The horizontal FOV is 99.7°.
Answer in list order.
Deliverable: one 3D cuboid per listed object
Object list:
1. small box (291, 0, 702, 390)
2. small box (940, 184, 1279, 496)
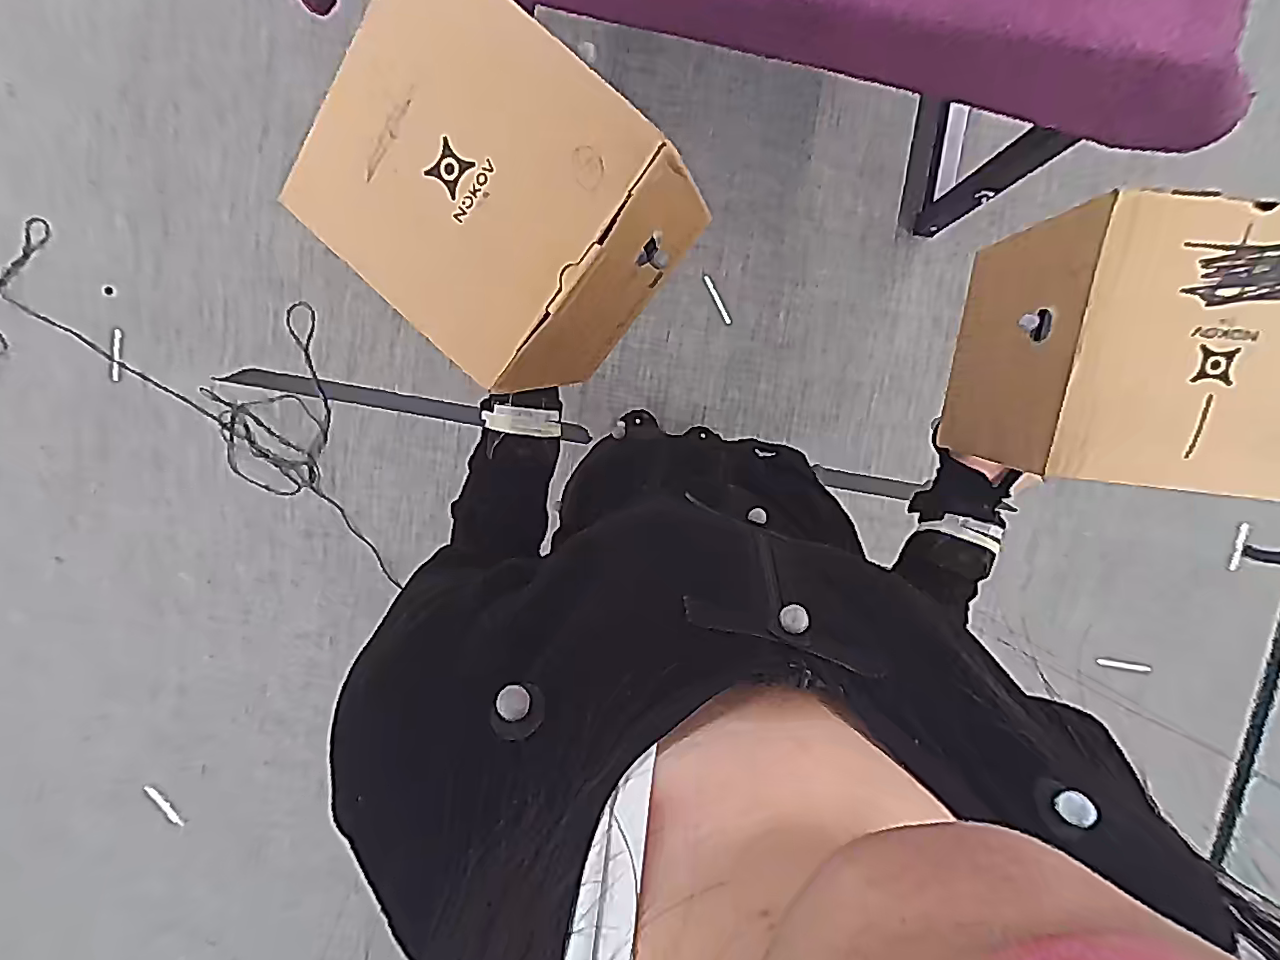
[{"bbox_3d":[-0.077,-0.184,0.371,0.179,0.176,0.168,42,109,3],"label":"small box"},{"bbox_3d":[0.358,-0.097,0.410,0.168,0.176,0.179,7,102,5],"label":"small box"}]
